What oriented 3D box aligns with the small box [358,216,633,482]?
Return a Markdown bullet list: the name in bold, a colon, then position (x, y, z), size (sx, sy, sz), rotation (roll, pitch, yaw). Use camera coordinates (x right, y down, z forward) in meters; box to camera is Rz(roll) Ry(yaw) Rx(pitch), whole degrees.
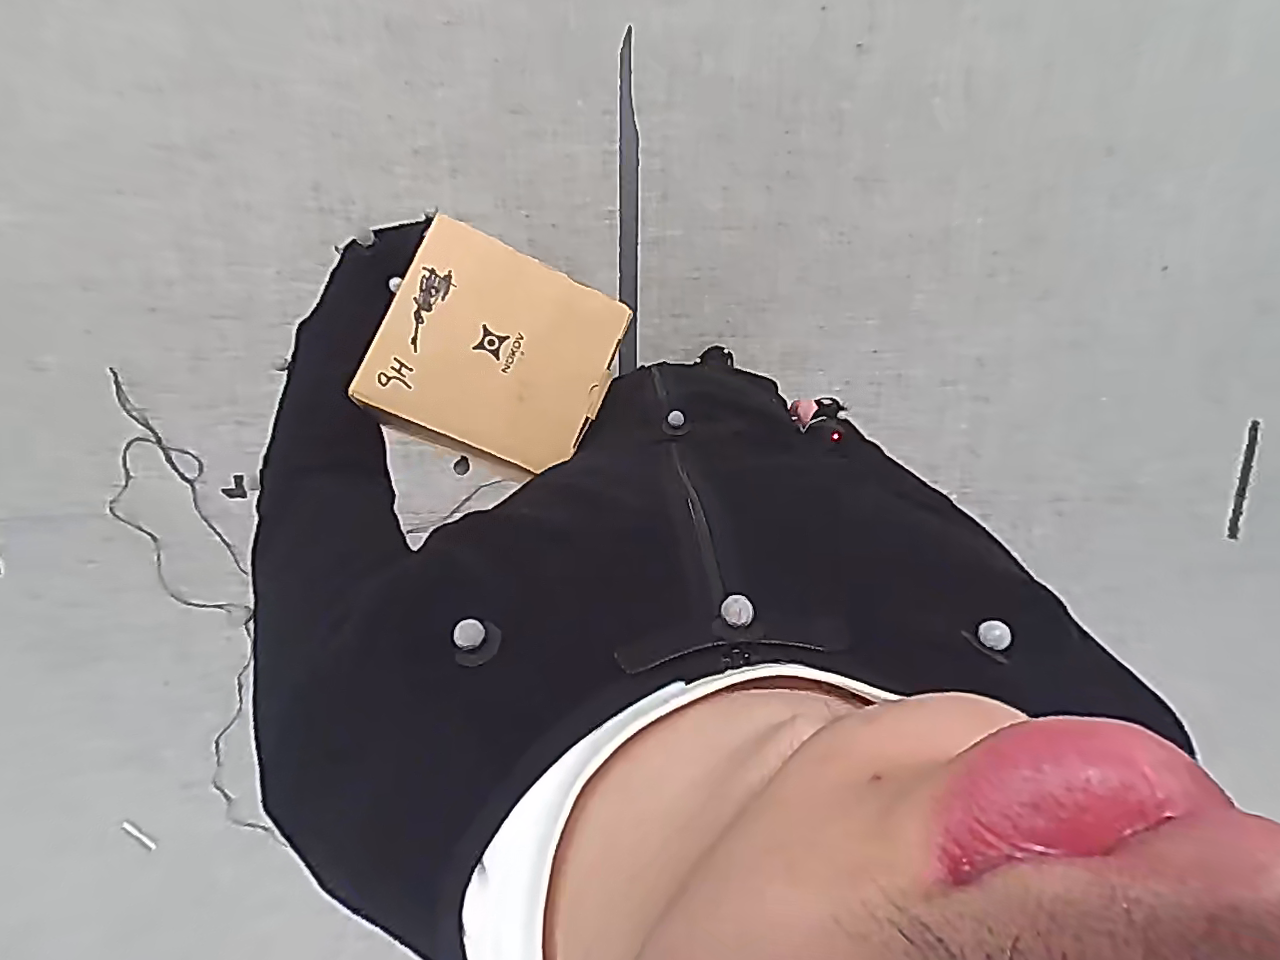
- **small box**: position (-0.133, -0.103, 0.520), size (0.179, 0.176, 0.168), rotation (23, 80, -14)
